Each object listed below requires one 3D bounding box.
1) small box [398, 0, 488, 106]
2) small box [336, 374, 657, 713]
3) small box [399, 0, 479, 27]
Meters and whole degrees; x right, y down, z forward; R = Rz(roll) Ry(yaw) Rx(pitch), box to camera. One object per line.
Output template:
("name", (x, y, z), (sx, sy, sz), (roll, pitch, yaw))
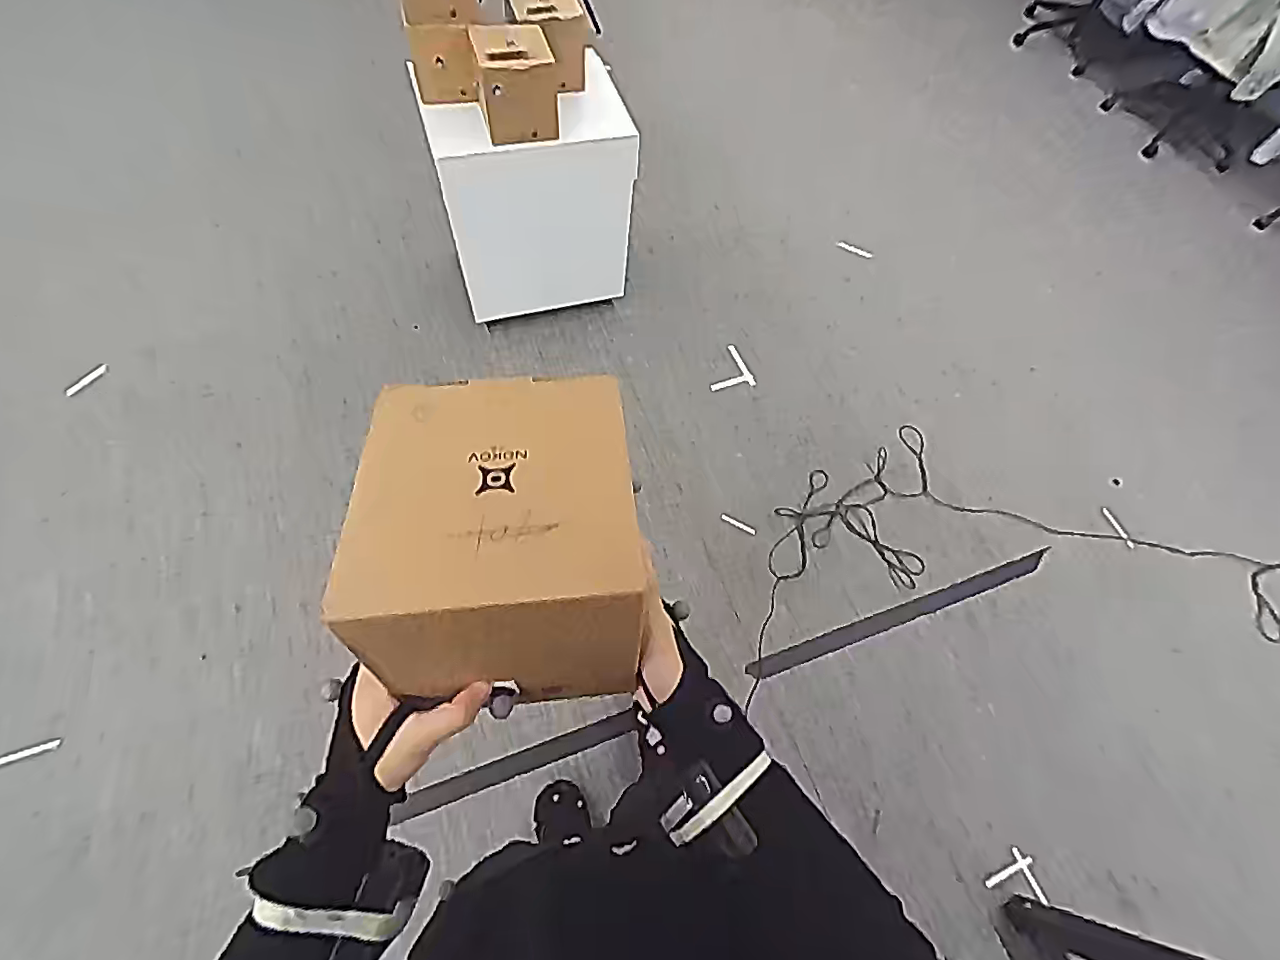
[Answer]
("small box", (-0.478, -1.045, 1.322), (0.168, 0.176, 0.179), (-12, 66, -12))
("small box", (-0.085, 0.046, 0.391), (0.168, 0.176, 0.179), (-5, 52, -6))
("small box", (-0.458, -1.126, 1.180), (0.168, 0.176, 0.179), (-13, 67, -13))
